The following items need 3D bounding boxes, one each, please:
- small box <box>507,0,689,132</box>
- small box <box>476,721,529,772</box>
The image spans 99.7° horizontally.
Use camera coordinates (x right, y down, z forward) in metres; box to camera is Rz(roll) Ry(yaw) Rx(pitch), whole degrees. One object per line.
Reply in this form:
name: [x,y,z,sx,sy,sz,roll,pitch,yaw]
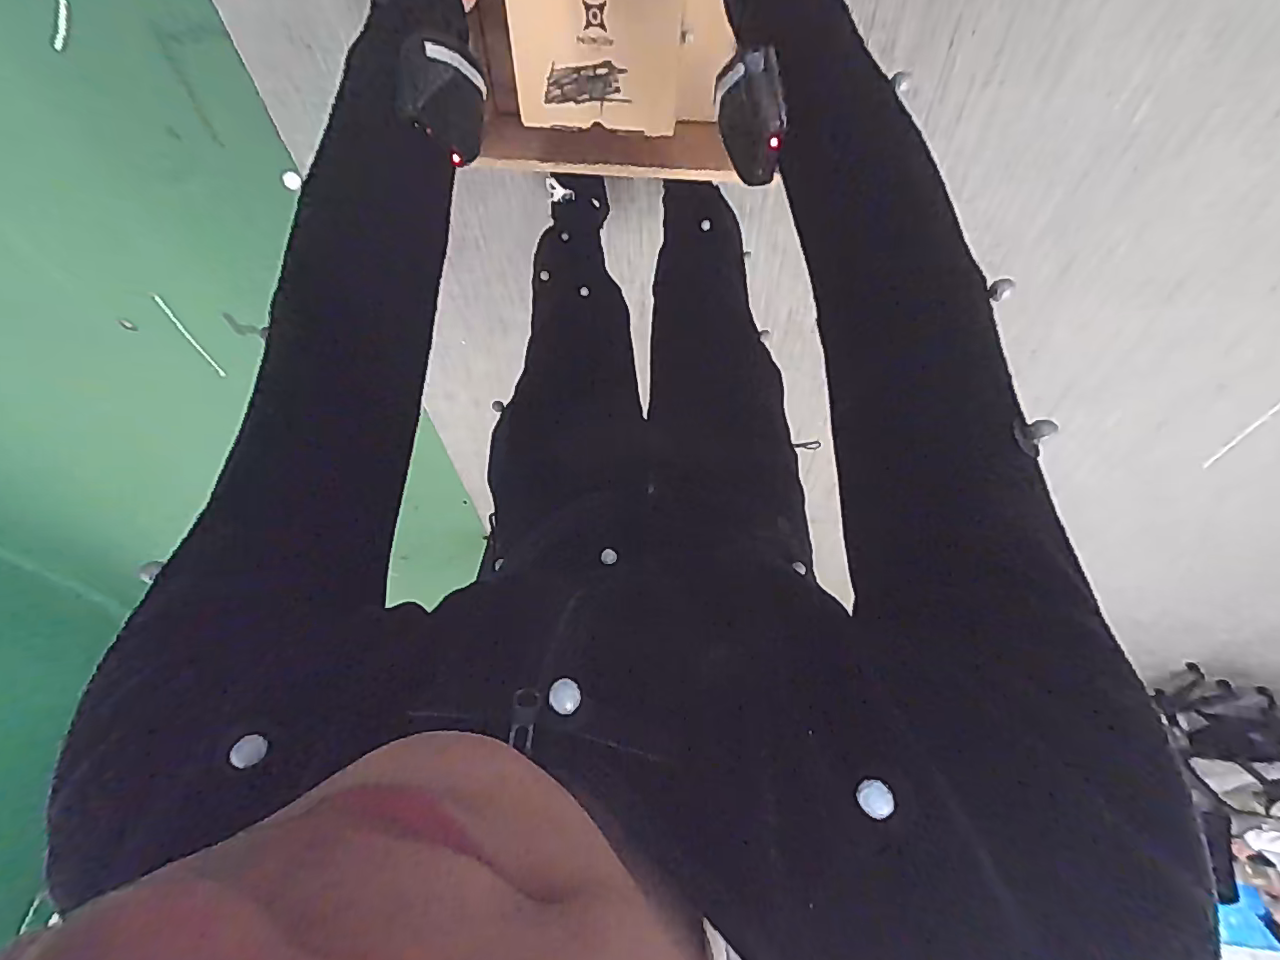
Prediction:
small box: [-0.034,-0.492,0.553,0.168,0.176,0.179,5,143,2]
small box: [-0.585,1.136,2.318,0.168,0.176,0.179,3,141,5]
